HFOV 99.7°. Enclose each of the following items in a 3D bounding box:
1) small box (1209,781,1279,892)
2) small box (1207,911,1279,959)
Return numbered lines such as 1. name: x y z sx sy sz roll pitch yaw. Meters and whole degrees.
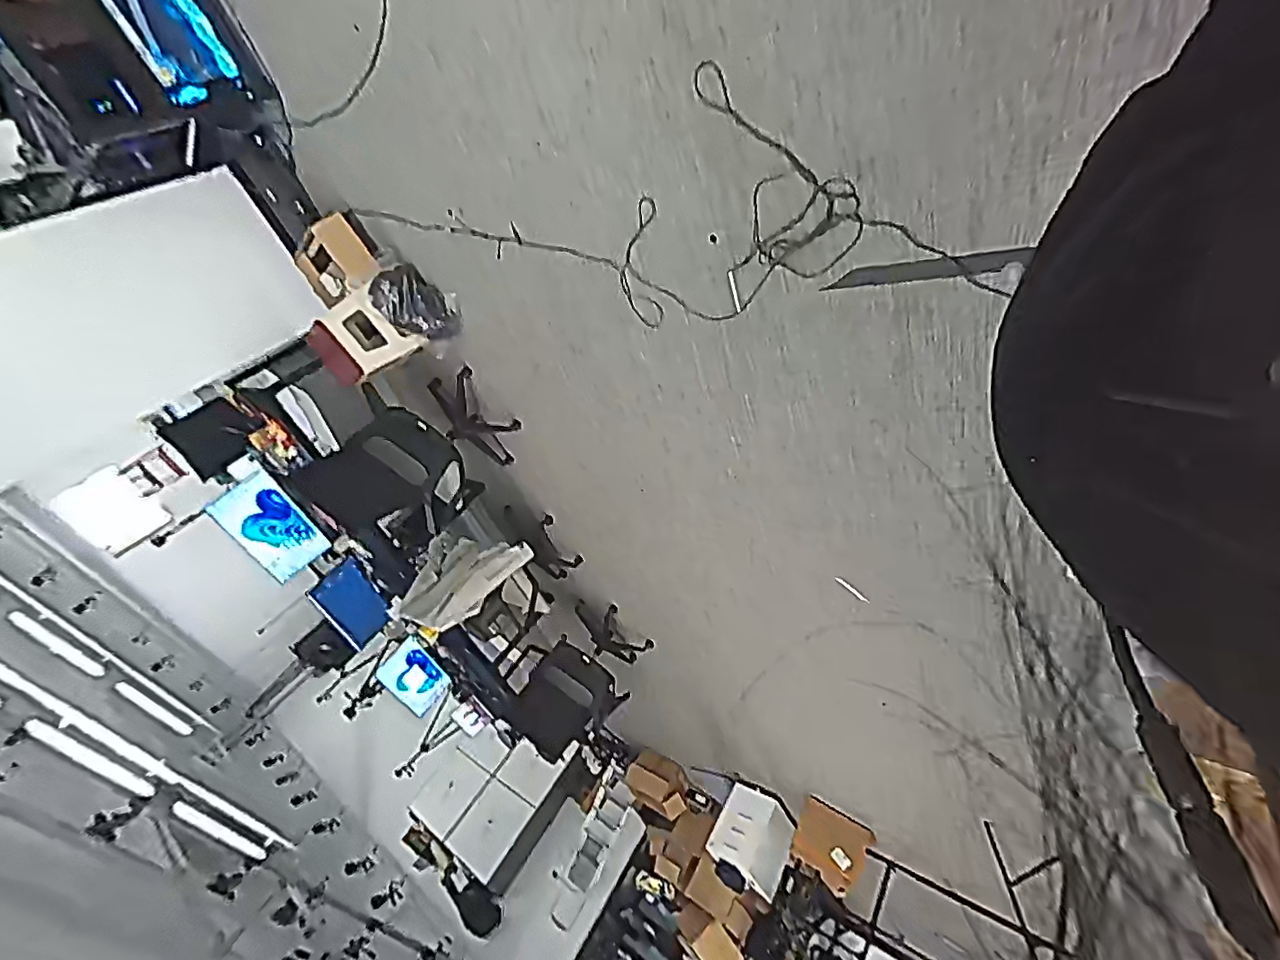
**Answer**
1. small box: 1.574 0.904 1.368 0.168 0.176 0.179 6 134 42
2. small box: 1.386 1.111 1.193 0.168 0.176 0.179 8 134 39
